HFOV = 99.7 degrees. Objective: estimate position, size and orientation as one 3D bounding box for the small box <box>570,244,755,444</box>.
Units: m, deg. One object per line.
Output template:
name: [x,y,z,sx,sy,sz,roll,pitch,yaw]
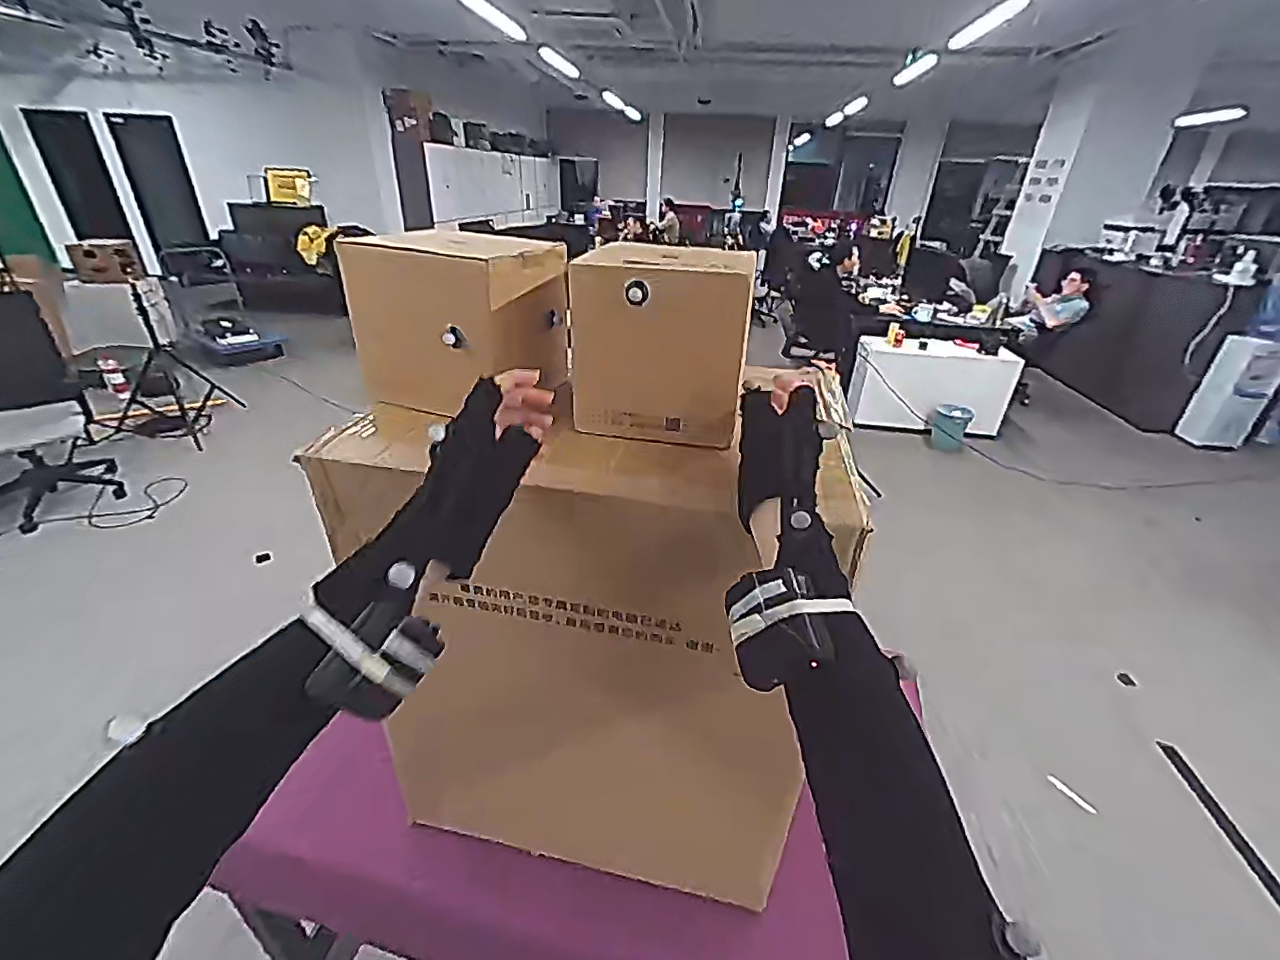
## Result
small box: [0.029,-0.154,0.582,0.168,0.176,0.179,6,28,10]
